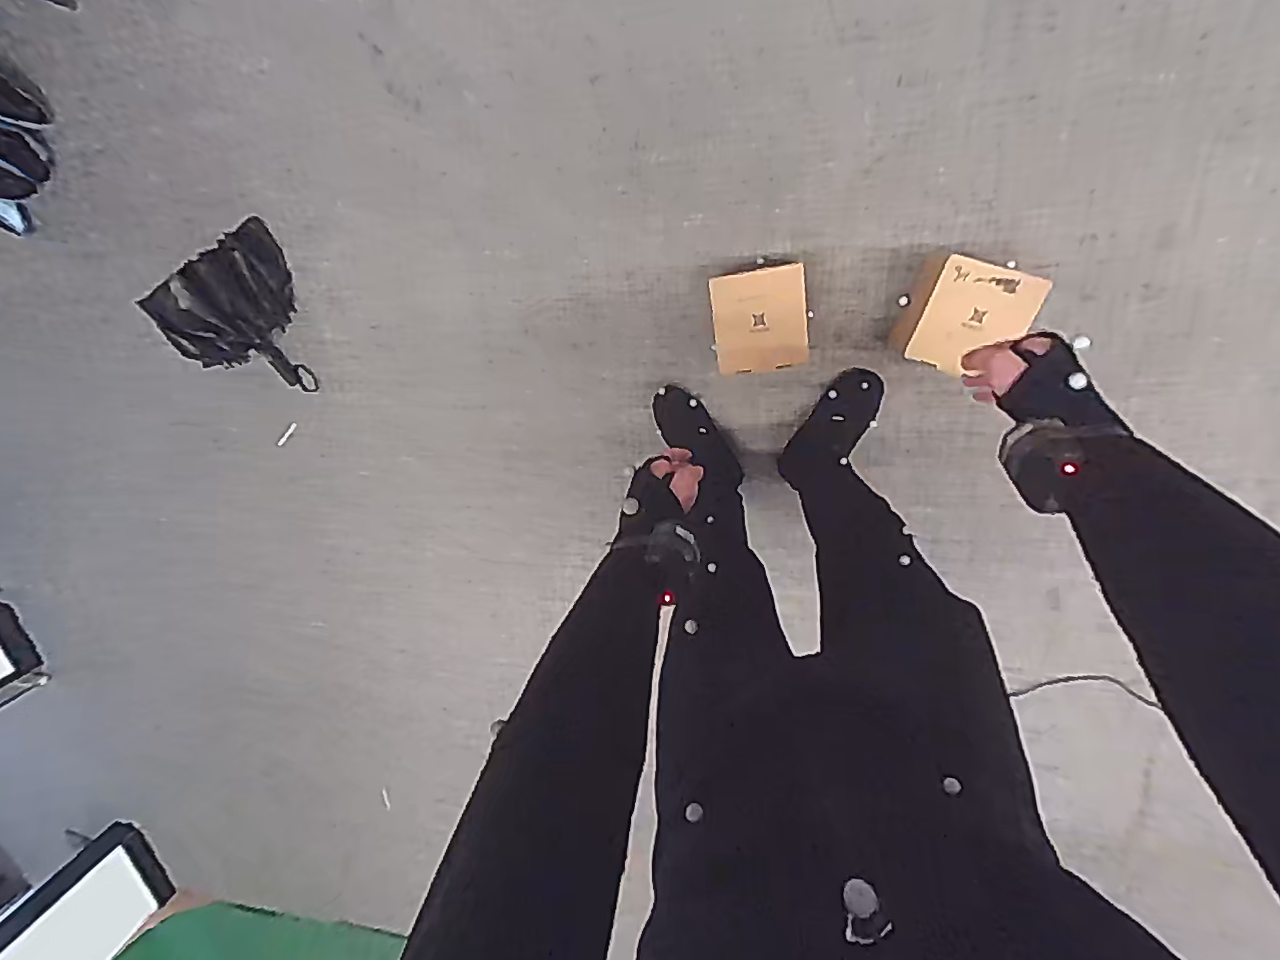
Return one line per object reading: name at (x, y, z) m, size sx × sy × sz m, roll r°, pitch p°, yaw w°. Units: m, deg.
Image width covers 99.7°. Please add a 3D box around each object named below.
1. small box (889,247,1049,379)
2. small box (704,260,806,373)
small box at (0.564, -0.302, 0.960) m, size 0.168 × 0.176 × 0.179 m, roll 18°, pitch 116°, yaw 6°
small box at (0.222, -0.317, 1.035) m, size 0.168 × 0.176 × 0.179 m, roll -7°, pitch 110°, yaw 14°
